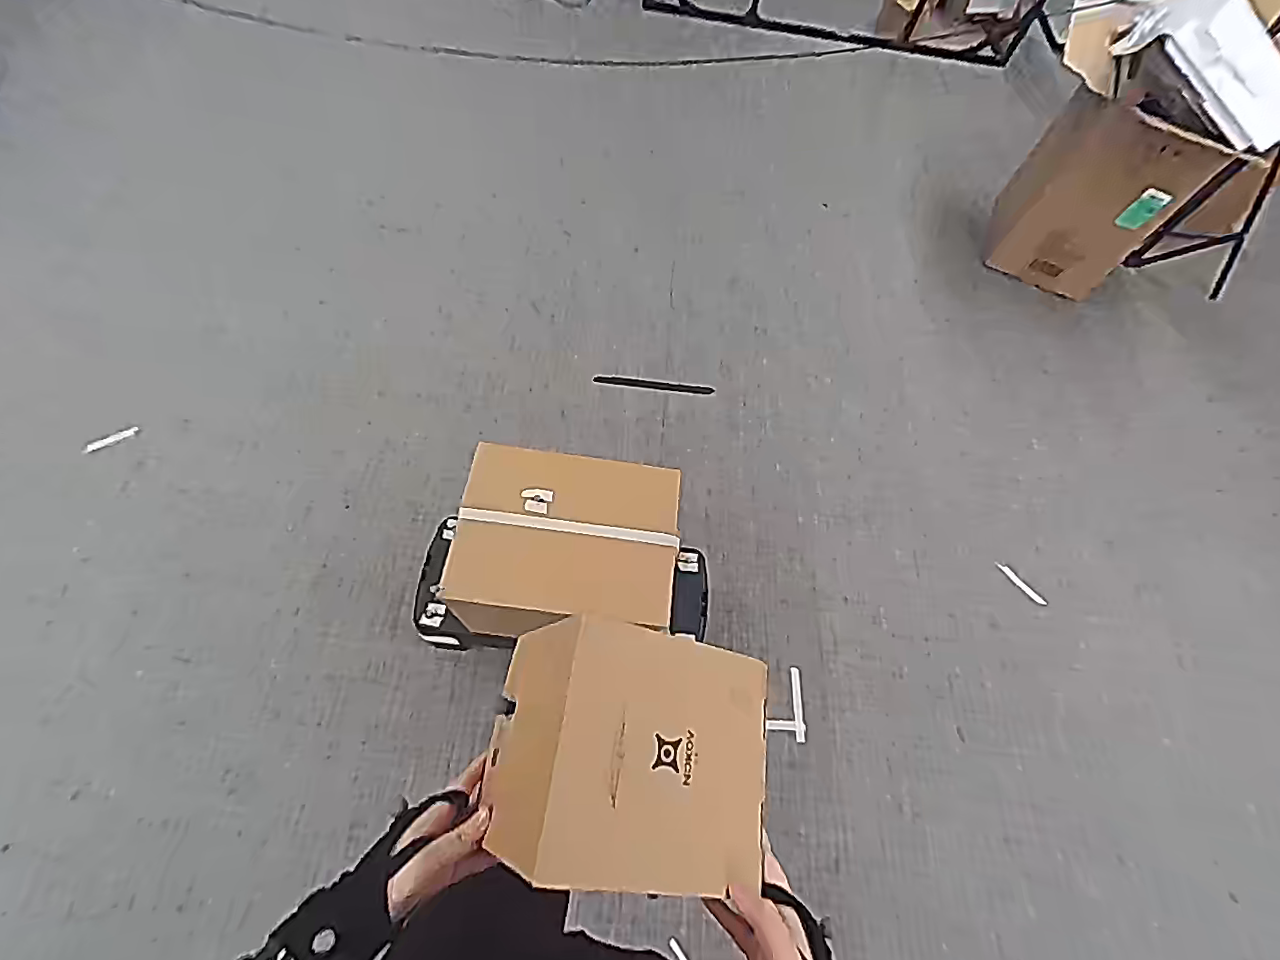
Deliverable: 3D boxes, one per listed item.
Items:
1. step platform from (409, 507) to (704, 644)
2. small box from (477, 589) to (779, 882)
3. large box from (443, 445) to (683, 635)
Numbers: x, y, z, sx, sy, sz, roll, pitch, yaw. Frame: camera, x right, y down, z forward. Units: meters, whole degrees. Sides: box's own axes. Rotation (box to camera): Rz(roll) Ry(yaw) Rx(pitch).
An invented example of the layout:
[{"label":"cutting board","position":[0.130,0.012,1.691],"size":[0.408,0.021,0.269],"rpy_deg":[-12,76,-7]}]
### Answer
[{"label":"step platform","position":[-0.188,0.281,1.318],"size":[0.684,0.204,0.286],"rpy_deg":[12,63,1]},{"label":"small box","position":[-0.010,0.206,0.446],"size":[0.179,0.176,0.168],"rpy_deg":[23,59,-21]},{"label":"large box","position":[-0.134,0.155,1.119],"size":[0.408,0.320,0.320],"rpy_deg":[8,62,-1]}]
